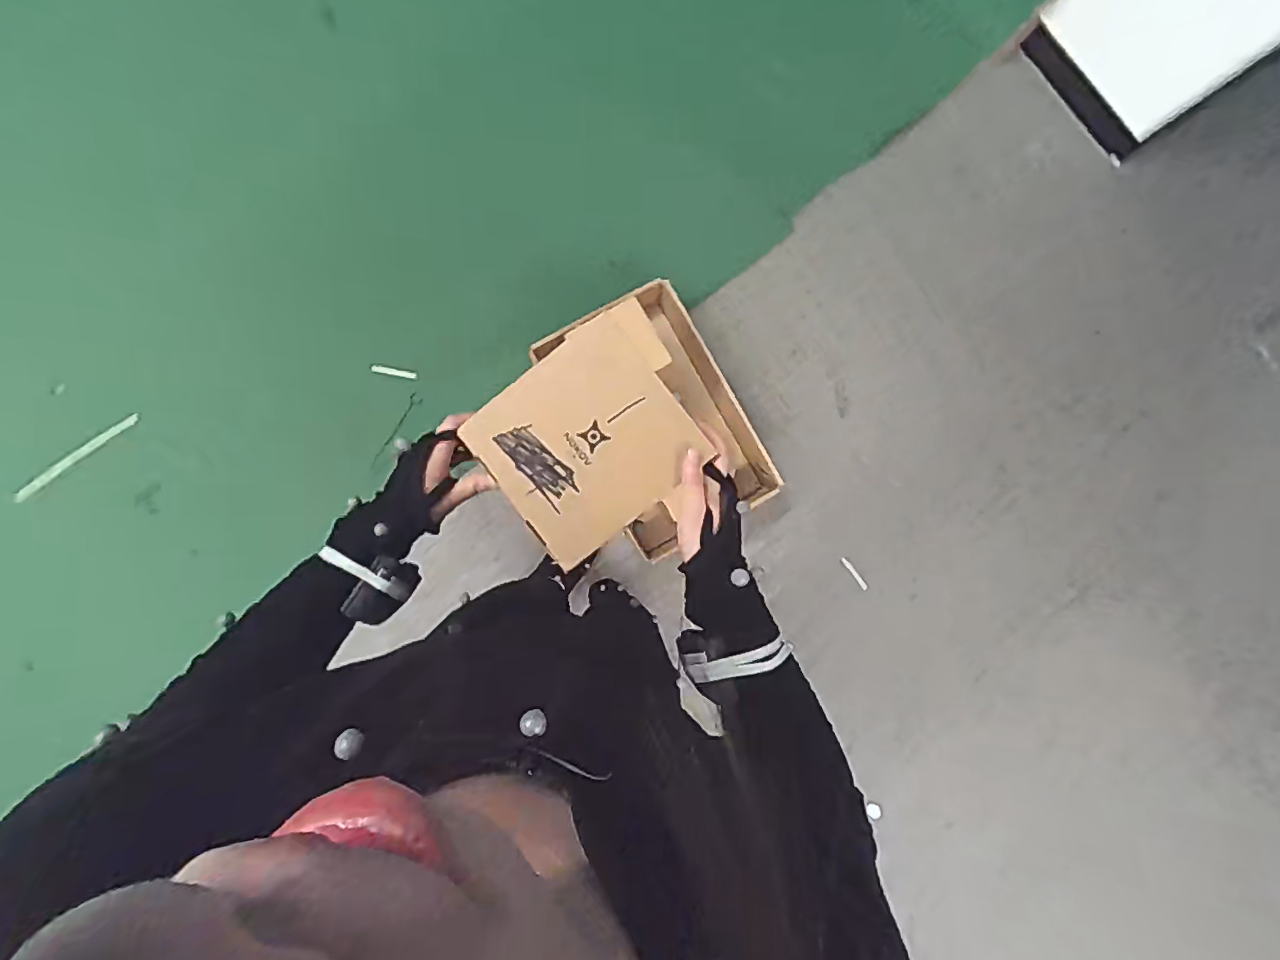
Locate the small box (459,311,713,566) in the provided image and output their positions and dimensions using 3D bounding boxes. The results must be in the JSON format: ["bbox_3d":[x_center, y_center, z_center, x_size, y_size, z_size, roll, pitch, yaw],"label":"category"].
[{"bbox_3d":[-0.045,-0.035,0.561,0.179,0.176,0.168,-38,88,1],"label":"small box"}]

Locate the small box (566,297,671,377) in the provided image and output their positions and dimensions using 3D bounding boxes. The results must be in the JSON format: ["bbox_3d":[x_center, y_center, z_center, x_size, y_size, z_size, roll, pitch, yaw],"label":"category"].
[{"bbox_3d":[-0.051,-0.281,1.228,0.179,0.176,0.168,-29,90,-3],"label":"small box"}]
